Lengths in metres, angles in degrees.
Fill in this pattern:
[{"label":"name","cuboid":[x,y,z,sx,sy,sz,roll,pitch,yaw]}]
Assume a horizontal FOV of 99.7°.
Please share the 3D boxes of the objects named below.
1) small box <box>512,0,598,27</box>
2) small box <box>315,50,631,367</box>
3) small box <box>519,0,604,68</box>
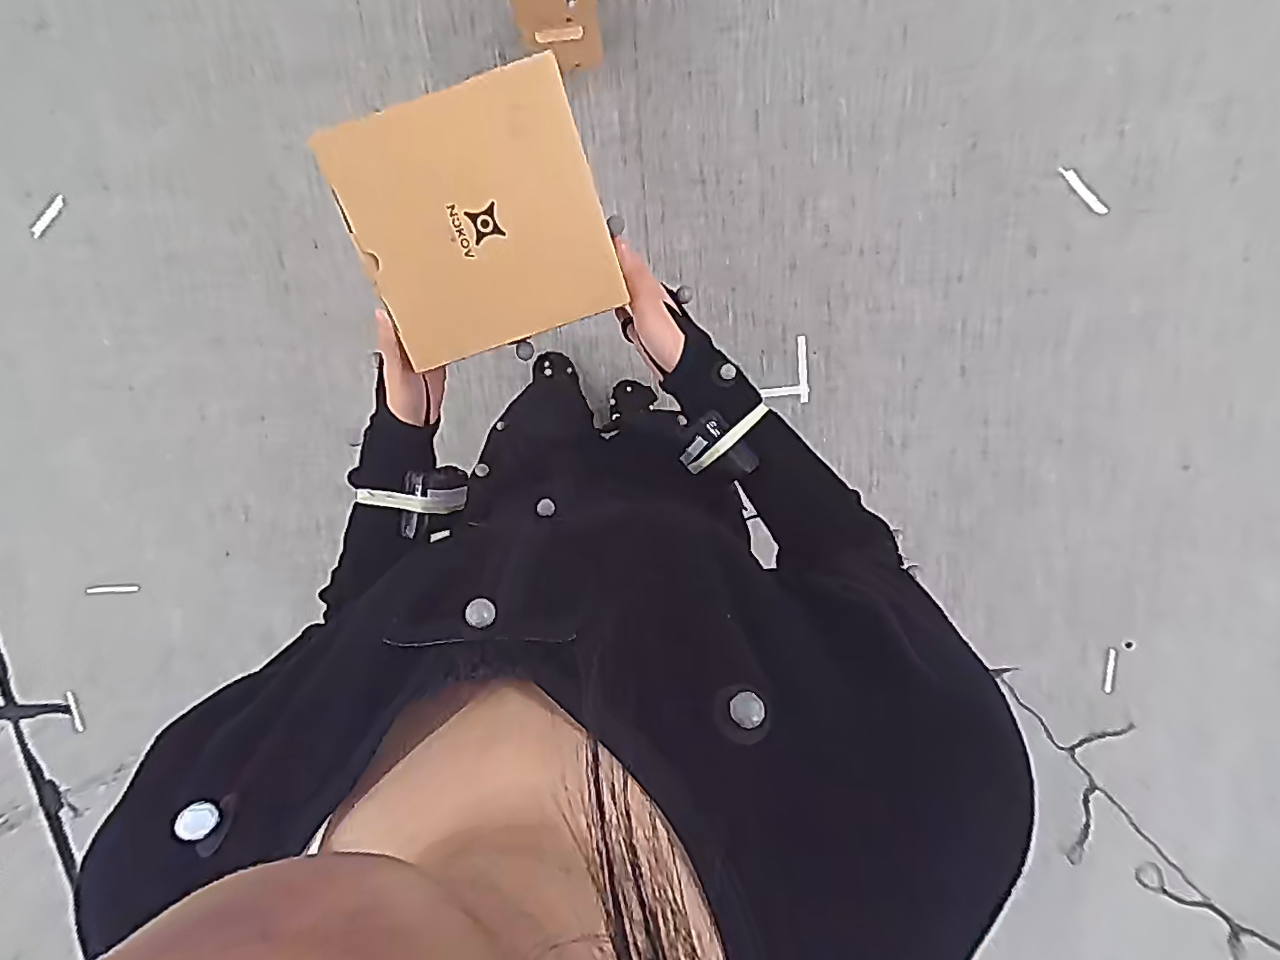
[{"label":"small box","cuboid":[-0.175,-1.017,1.041,0.168,0.176,0.179,-6,101,1]},{"label":"small box","cuboid":[-0.116,-0.210,0.456,0.179,0.176,0.168,-18,109,4]},{"label":"small box","cuboid":[-0.176,-1.049,1.201,0.168,0.176,0.179,-5,101,2]}]
